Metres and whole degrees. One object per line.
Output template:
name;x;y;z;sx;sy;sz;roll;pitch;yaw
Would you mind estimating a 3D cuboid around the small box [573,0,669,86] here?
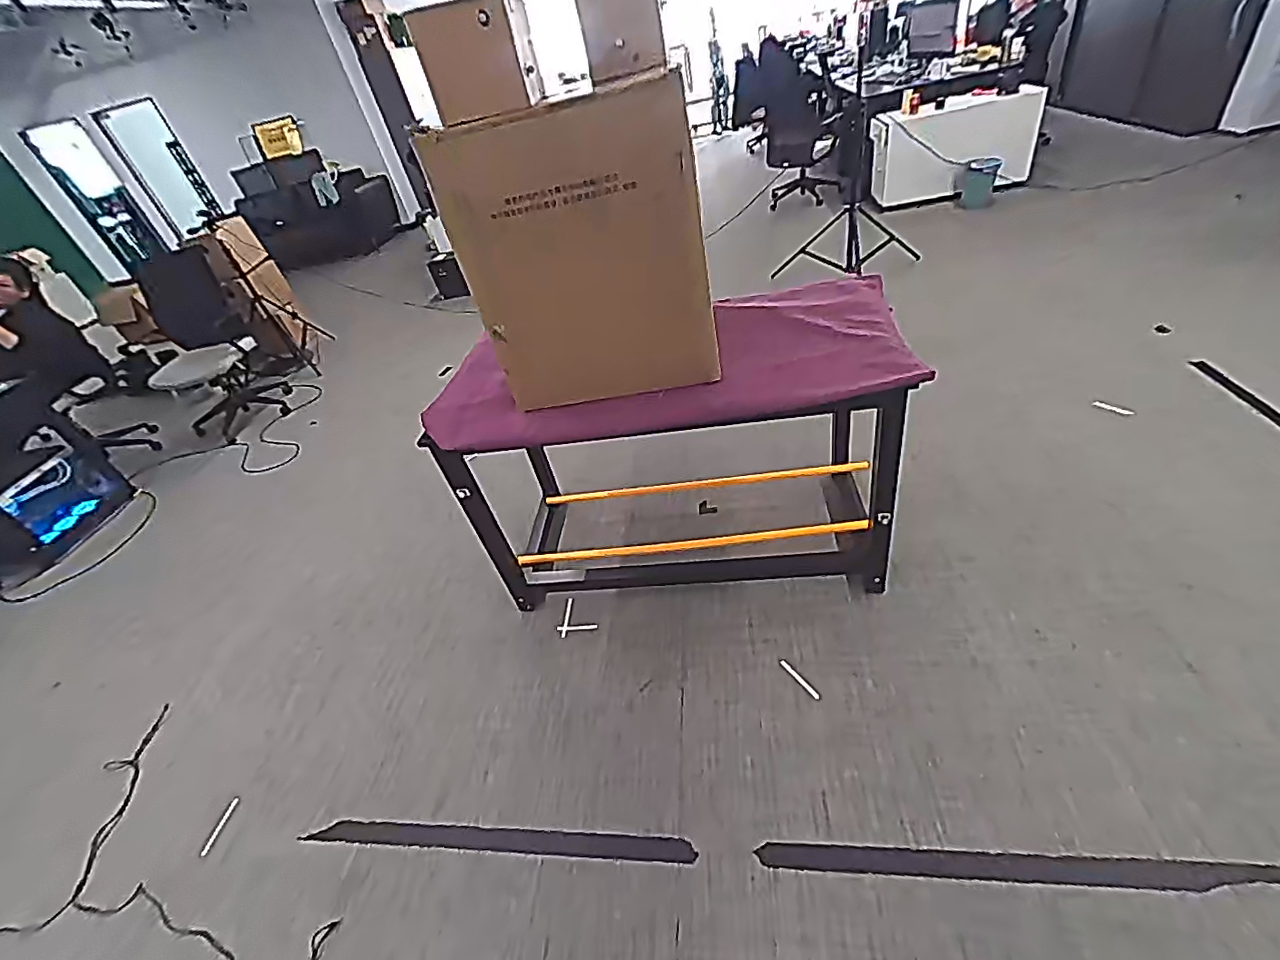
small box;-0.035;-0.947;1.131;0.168;0.176;0.179;-7;39;12
